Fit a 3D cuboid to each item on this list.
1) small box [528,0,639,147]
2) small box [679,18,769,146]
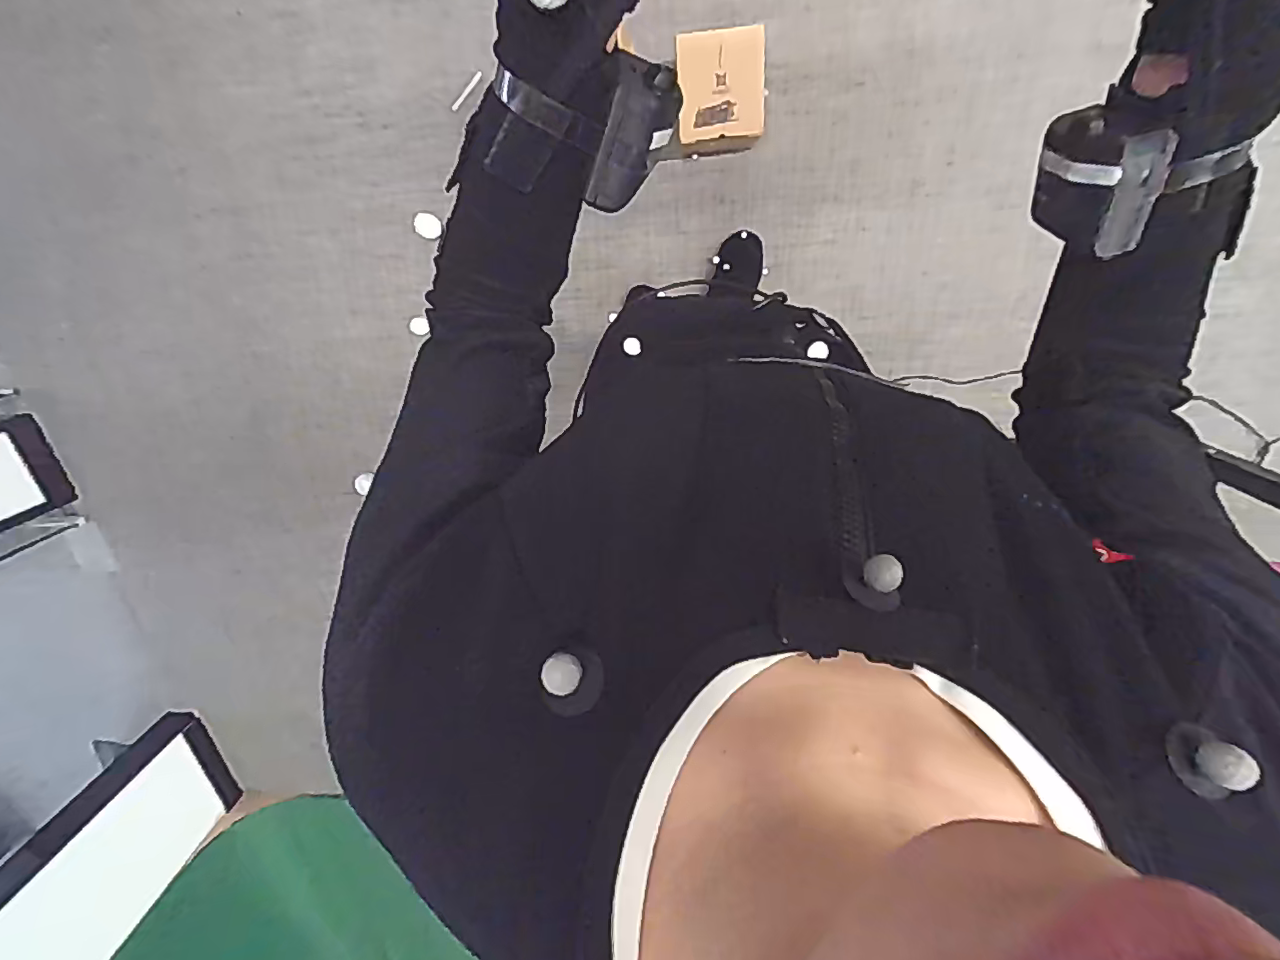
[{"bbox_3d":[-0.092,-0.720,0.971,0.168,0.176,0.179,-1,113,6],"label":"small box"},{"bbox_3d":[0.166,-0.790,1.094,0.168,0.176,0.179,-2,113,6],"label":"small box"}]
